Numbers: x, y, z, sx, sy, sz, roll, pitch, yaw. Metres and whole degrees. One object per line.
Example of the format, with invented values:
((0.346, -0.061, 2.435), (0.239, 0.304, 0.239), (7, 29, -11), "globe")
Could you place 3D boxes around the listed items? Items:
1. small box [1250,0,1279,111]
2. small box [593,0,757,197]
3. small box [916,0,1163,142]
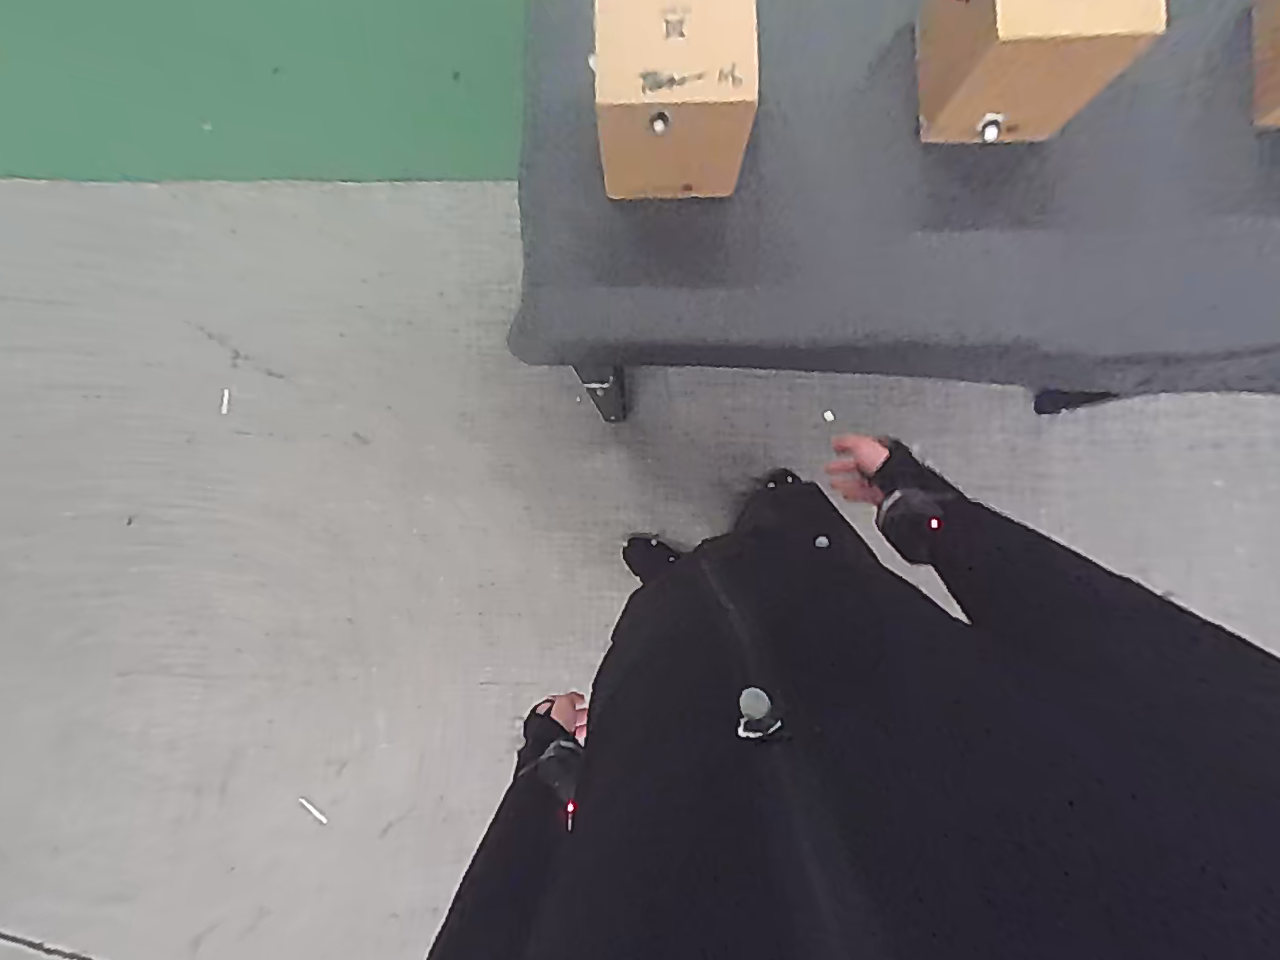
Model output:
((0.857, -0.546, 0.609), (0.168, 0.176, 0.179), (1, 88, 1), "small box")
((0.035, -0.457, 0.621), (0.168, 0.176, 0.179), (-1, 87, 1), "small box")
((0.437, -0.528, 0.620), (0.168, 0.176, 0.179), (-2, 89, 2), "small box")
